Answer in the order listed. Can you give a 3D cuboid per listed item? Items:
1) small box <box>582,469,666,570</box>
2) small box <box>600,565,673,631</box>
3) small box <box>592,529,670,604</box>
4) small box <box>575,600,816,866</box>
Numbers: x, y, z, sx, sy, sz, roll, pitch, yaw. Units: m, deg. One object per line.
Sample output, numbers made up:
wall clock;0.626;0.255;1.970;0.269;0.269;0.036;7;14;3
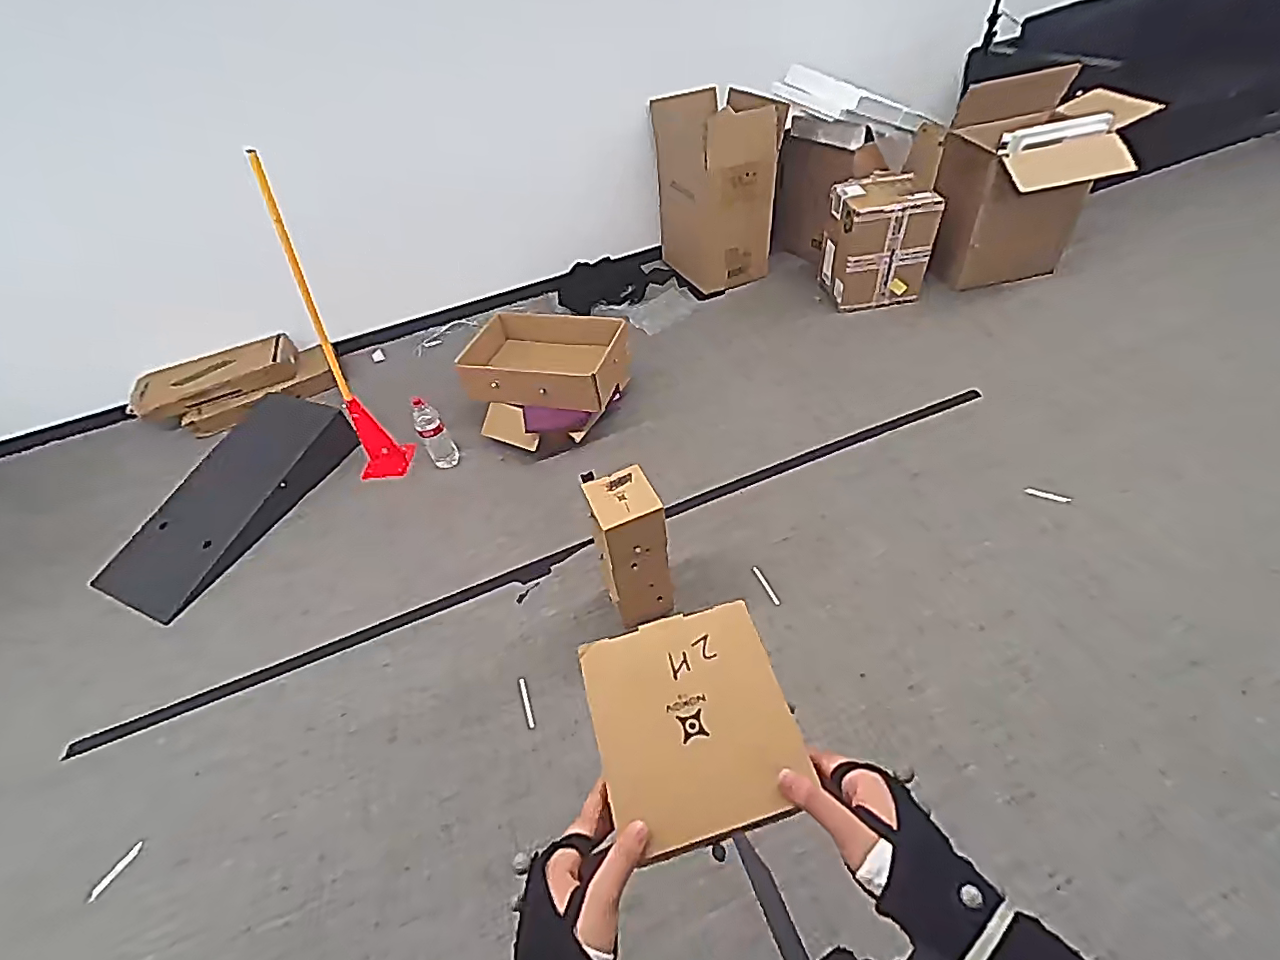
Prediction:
small box;-0.040;0.107;1.445;0.168;0.176;0.179;-21;47;-11
small box;-0.006;0.337;1.678;0.179;0.176;0.168;-21;46;-9
small box;-0.024;0.224;1.561;0.168;0.176;0.179;-22;45;-11
small box;0.047;0.248;0.527;0.168;0.176;0.179;-16;53;-6
